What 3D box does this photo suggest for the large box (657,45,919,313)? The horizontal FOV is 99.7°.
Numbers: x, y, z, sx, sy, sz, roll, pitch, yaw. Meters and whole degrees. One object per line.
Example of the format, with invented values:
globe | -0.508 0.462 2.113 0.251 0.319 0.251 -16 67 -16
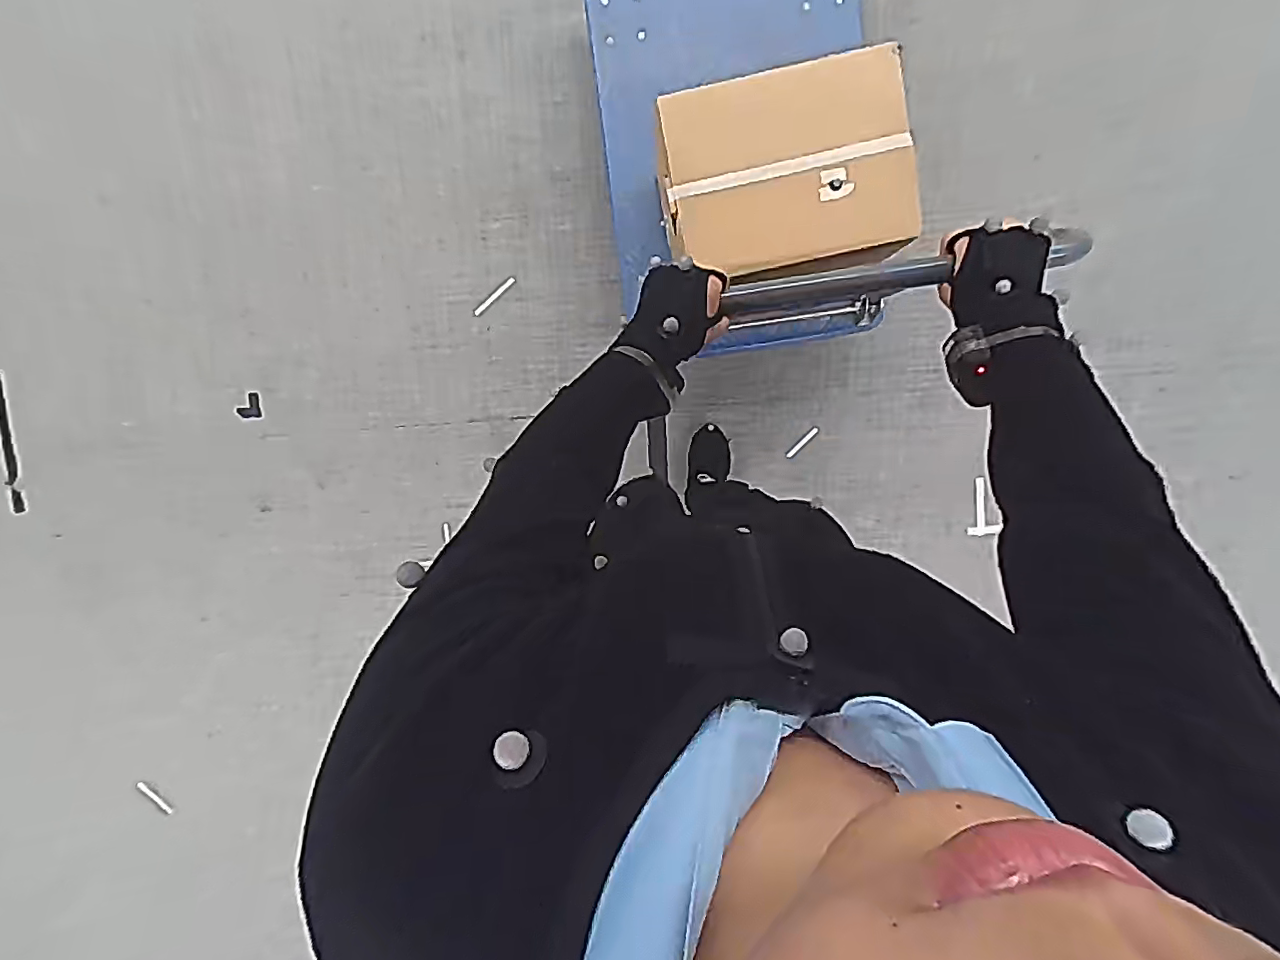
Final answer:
large box | 0.261 -0.554 1.075 0.408 0.320 0.320 -12 98 3
